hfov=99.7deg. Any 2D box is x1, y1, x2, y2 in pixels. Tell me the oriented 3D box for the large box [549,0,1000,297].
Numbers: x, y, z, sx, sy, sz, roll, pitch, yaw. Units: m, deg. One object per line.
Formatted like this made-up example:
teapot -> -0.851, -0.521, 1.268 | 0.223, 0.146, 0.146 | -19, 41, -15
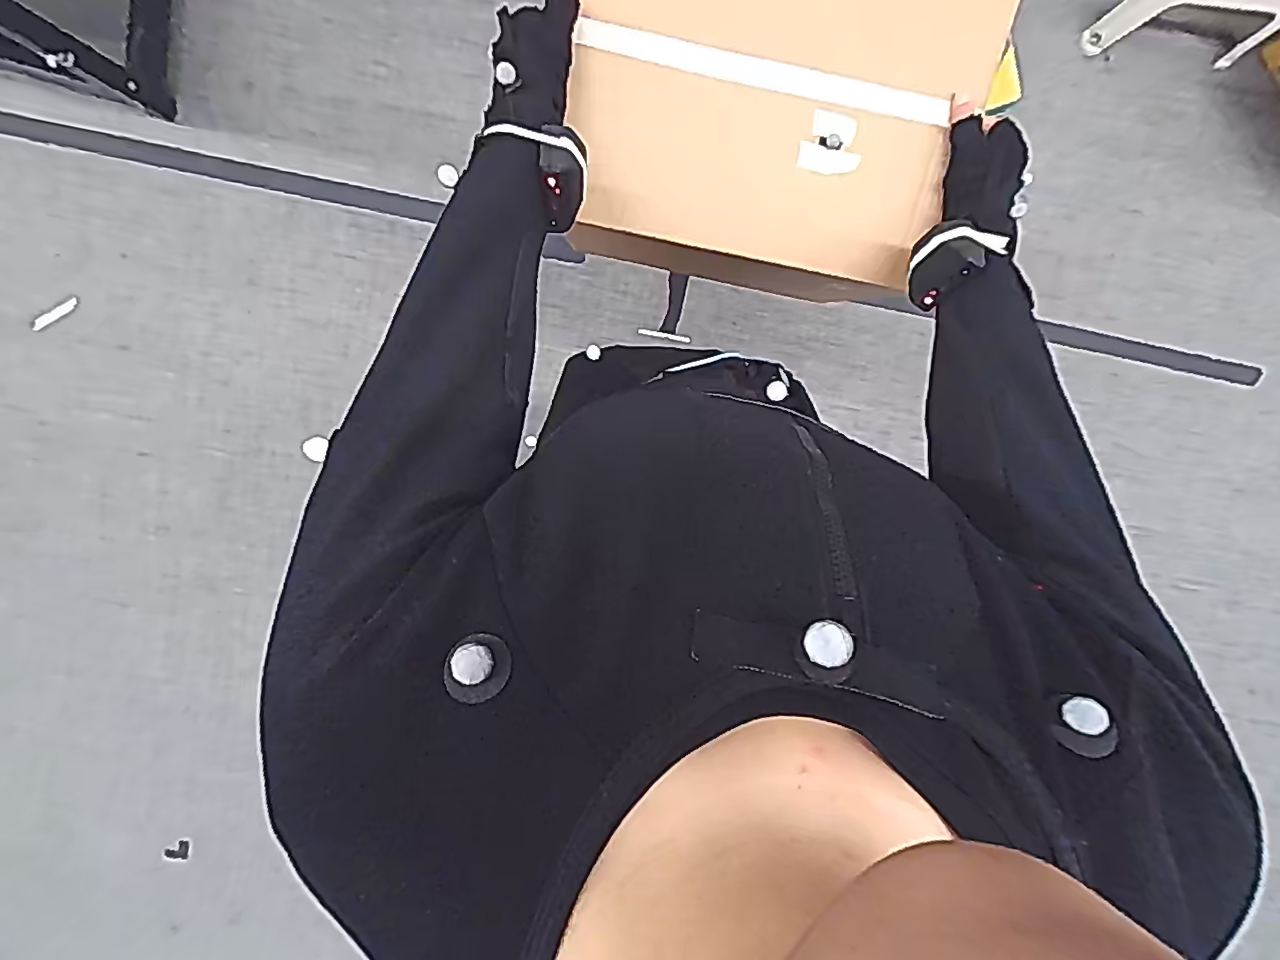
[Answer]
large box -> 0.121, -0.425, 0.668 | 0.408, 0.320, 0.320 | 10, 107, -5
